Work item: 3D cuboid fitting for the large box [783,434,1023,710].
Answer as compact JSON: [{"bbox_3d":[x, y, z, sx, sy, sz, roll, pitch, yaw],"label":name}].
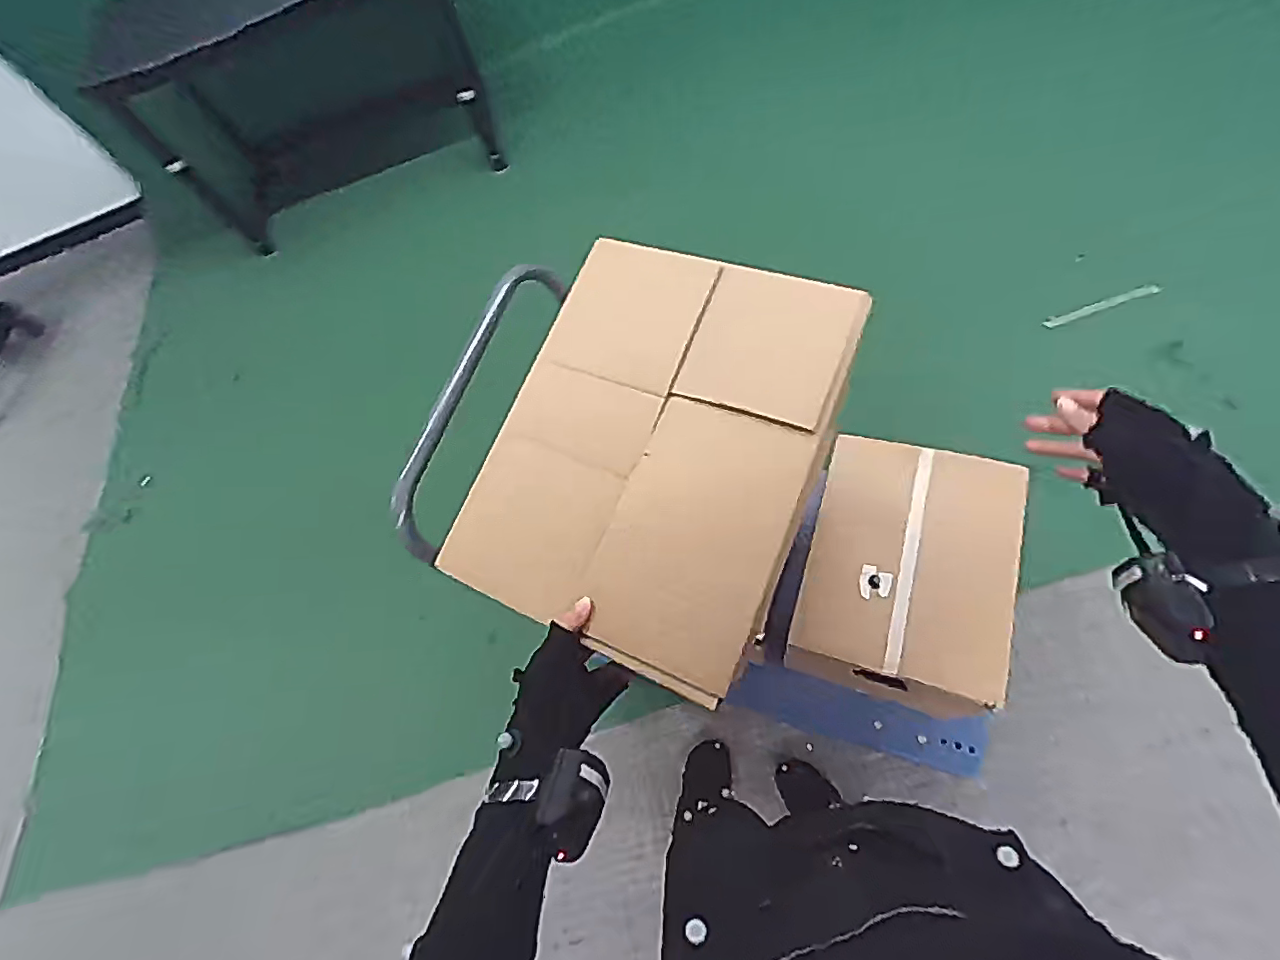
[{"bbox_3d":[0.473,0.179,1.026,0.320,0.320,0.408,13,70,19],"label":"large box"}]
